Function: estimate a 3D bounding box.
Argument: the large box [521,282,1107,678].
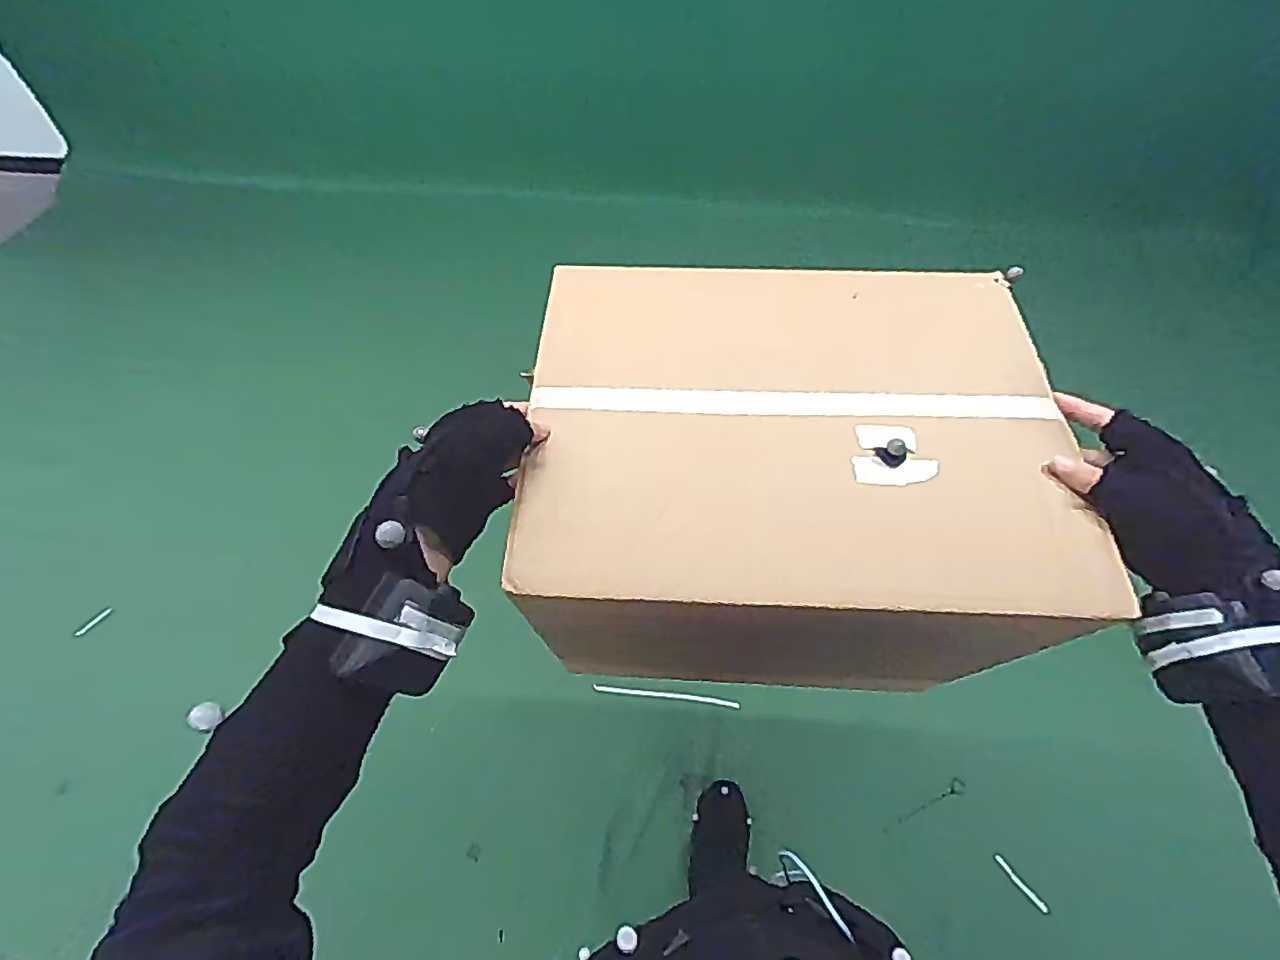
[{"bbox_3d":[0.119,0.021,0.566,0.408,0.320,0.320,1,62,2],"label":"large box"}]
